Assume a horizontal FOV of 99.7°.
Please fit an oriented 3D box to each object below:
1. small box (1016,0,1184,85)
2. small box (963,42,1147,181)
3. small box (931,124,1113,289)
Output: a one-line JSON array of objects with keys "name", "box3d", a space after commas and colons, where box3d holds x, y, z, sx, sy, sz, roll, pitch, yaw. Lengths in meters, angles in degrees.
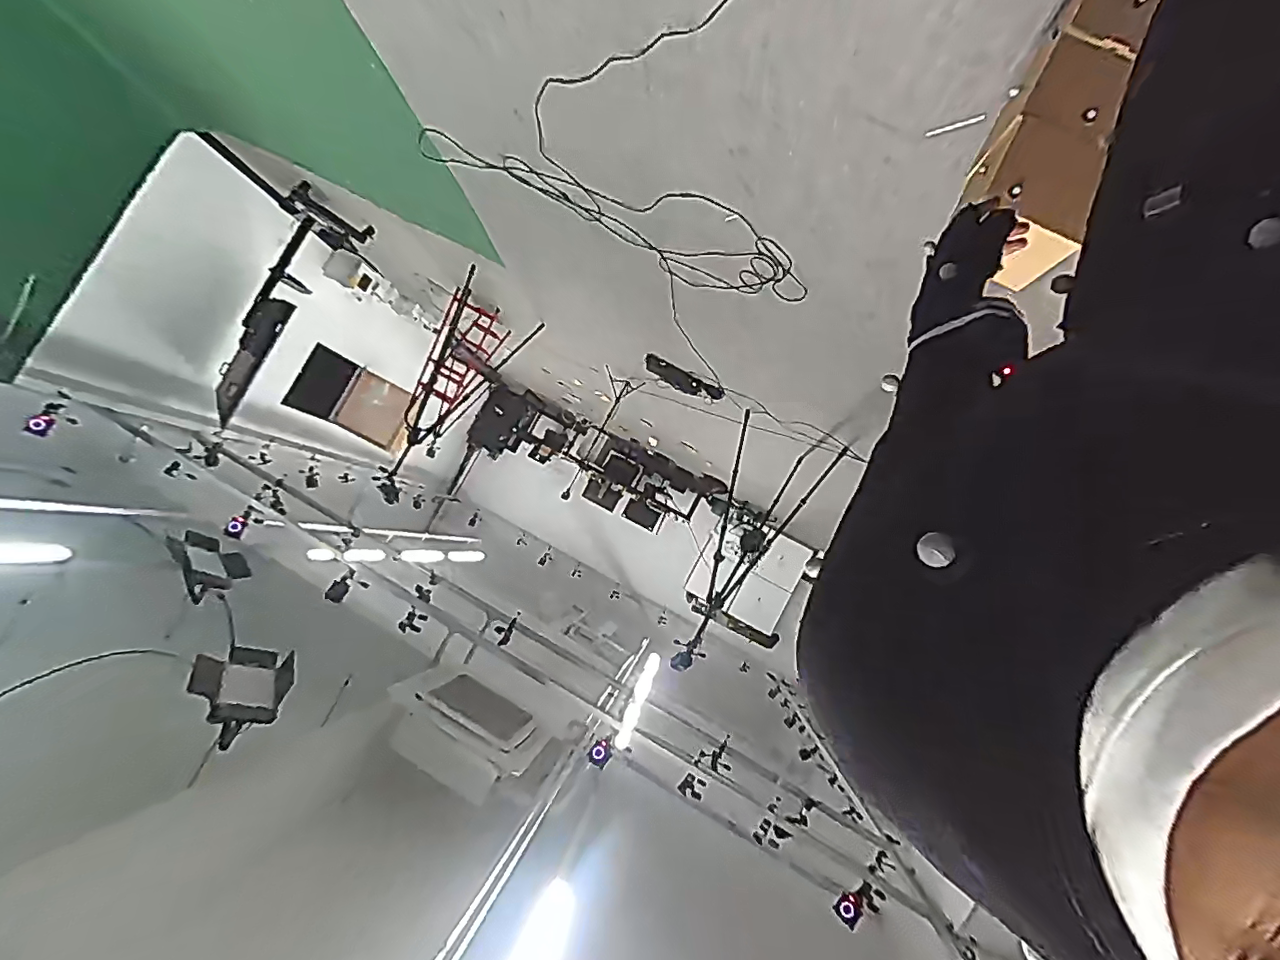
[{"name": "small box", "box3d": [0.816, -0.772, 0.977, 0.168, 0.176, 0.179, 28, 175, 6]}, {"name": "small box", "box3d": [0.738, -0.627, 0.971, 0.179, 0.176, 0.168, 29, 176, 5]}, {"name": "small box", "box3d": [0.669, -0.480, 0.958, 0.179, 0.176, 0.168, 29, 176, 5]}]
